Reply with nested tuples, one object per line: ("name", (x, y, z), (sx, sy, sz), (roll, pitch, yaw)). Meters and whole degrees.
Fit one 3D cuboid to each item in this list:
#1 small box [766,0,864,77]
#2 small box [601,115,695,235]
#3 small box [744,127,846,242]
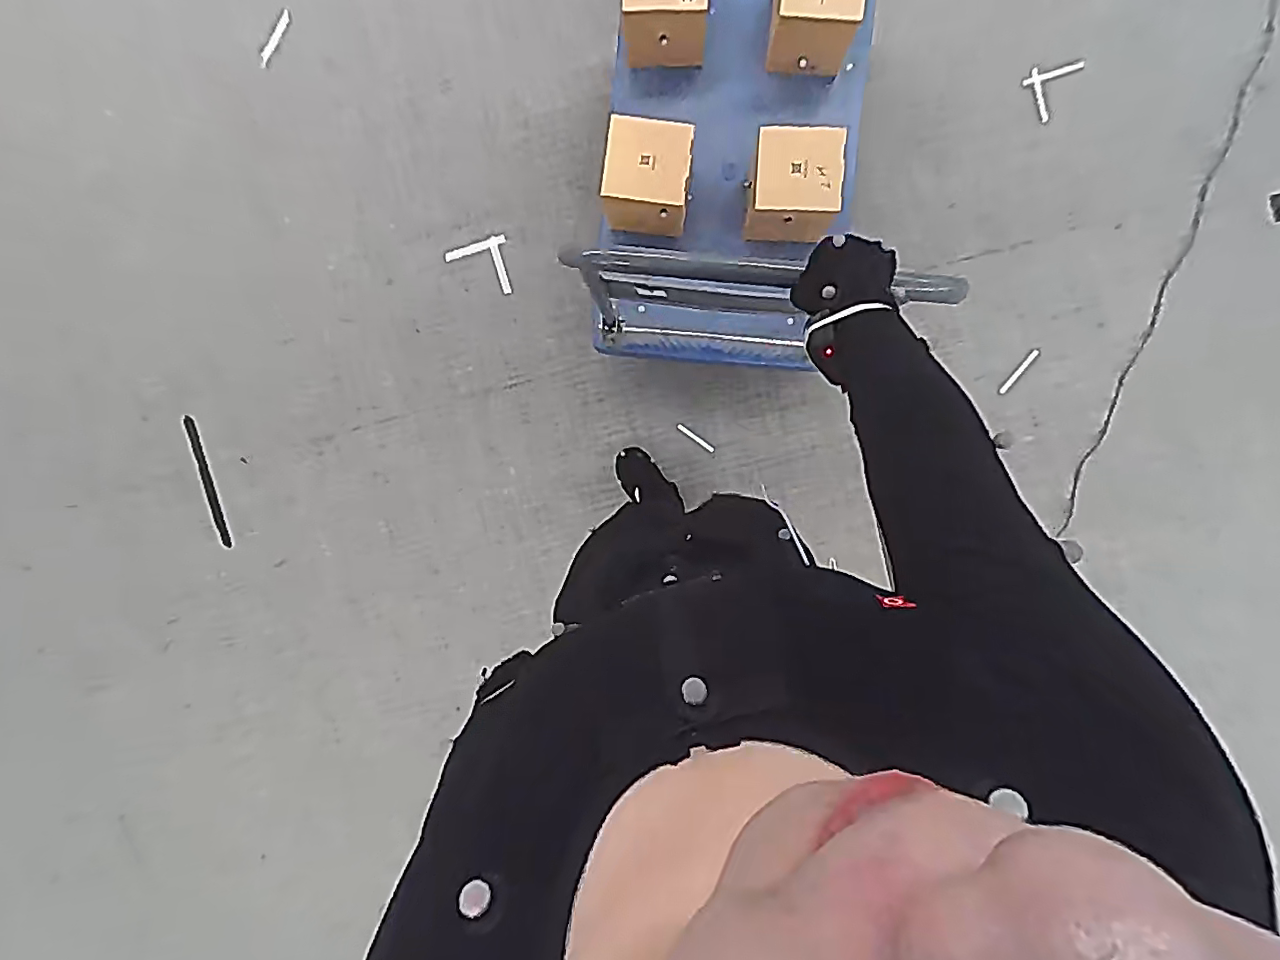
("small box", (0.370, -1.005, 1.144), (0.168, 0.176, 0.179), (6, 95, 3))
("small box", (0.018, -0.657, 1.185), (0.179, 0.176, 0.168), (8, 93, 1))
("small box", (0.325, -0.631, 1.170), (0.179, 0.176, 0.168), (4, 94, 3))
